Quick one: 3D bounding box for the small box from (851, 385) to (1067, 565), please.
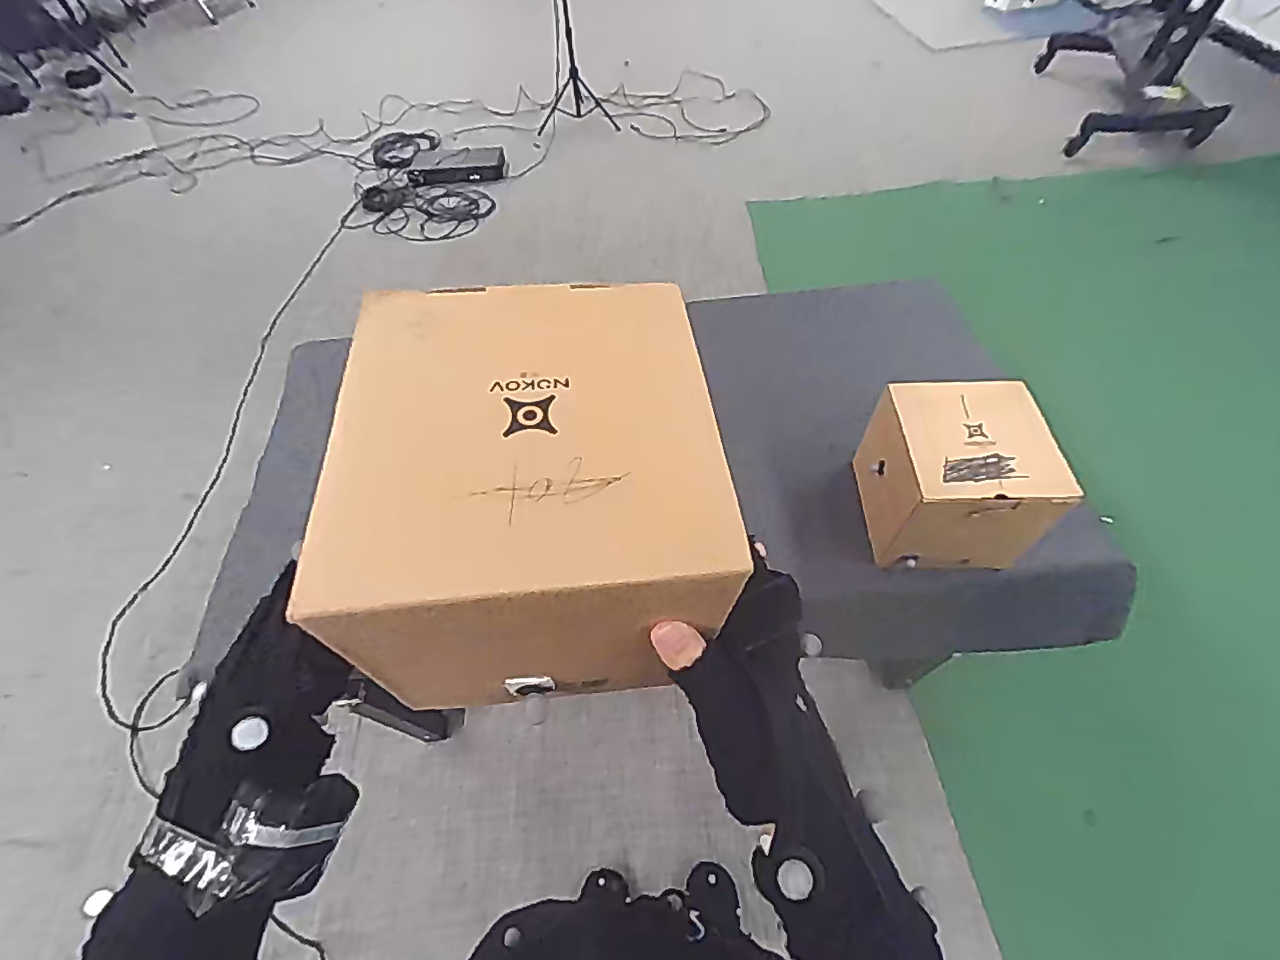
[{"bbox_3d":[0.388,-0.002,0.698,0.168,0.176,0.179,0,55,4],"label":"small box"}]

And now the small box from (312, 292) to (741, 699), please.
[{"bbox_3d":[-0.054,0.013,0.318,0.168,0.176,0.179,-3,56,-6],"label":"small box"}]
